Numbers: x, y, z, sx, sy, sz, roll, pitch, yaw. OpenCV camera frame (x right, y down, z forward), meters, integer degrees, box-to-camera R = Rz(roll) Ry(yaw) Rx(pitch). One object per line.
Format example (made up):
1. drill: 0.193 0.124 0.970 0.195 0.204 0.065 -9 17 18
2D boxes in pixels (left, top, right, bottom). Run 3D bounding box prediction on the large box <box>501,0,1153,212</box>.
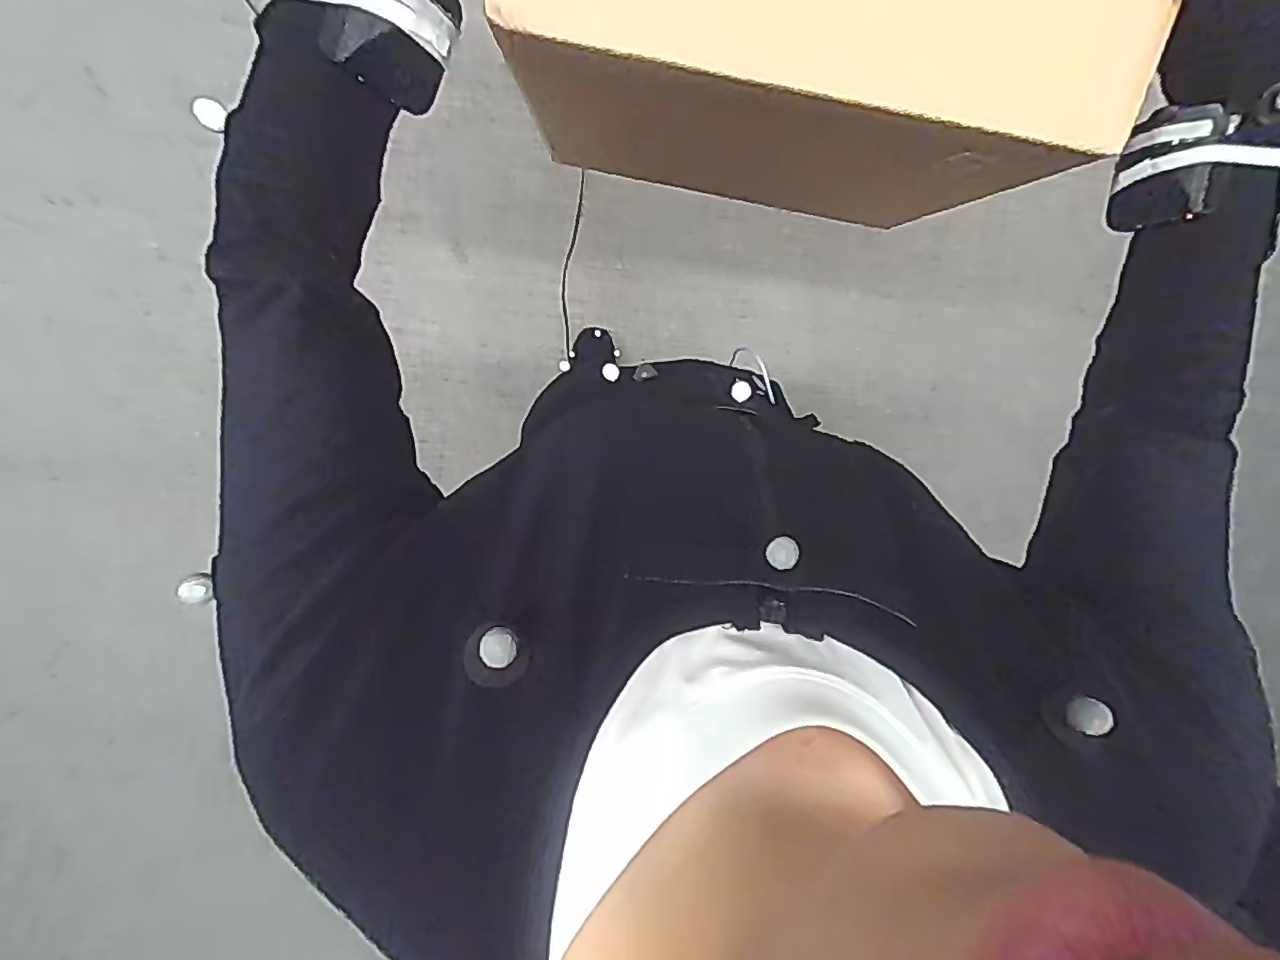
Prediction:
1. large box: 0.123 -0.439 0.437 0.408 0.320 0.320 7 107 -5
